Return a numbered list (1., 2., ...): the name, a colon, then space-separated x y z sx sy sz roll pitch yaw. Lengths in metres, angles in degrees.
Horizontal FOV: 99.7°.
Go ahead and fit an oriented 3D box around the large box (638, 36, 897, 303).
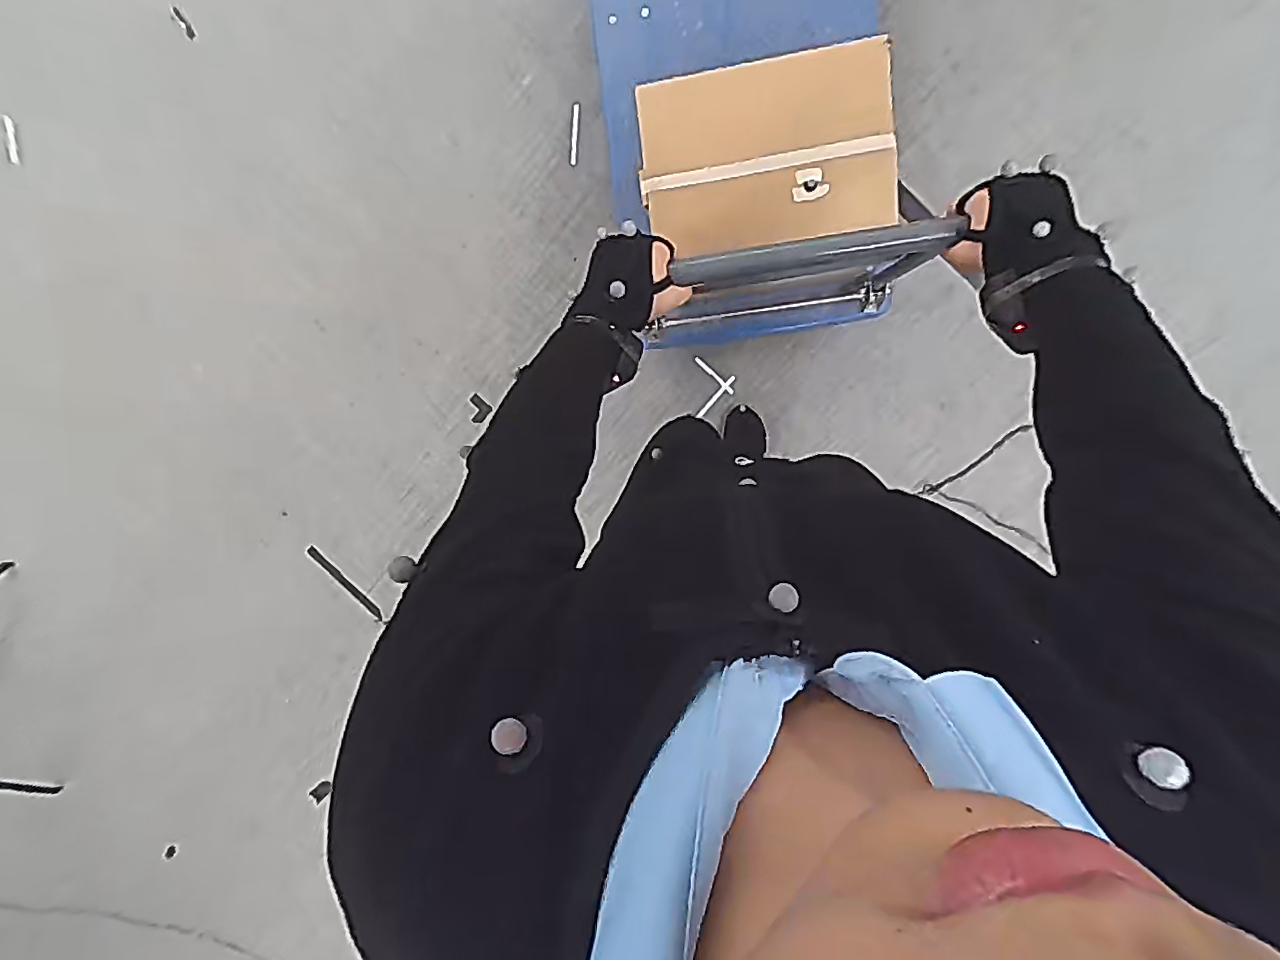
1. large box: 0.226 -0.552 1.044 0.408 0.320 0.320 -7 100 7
